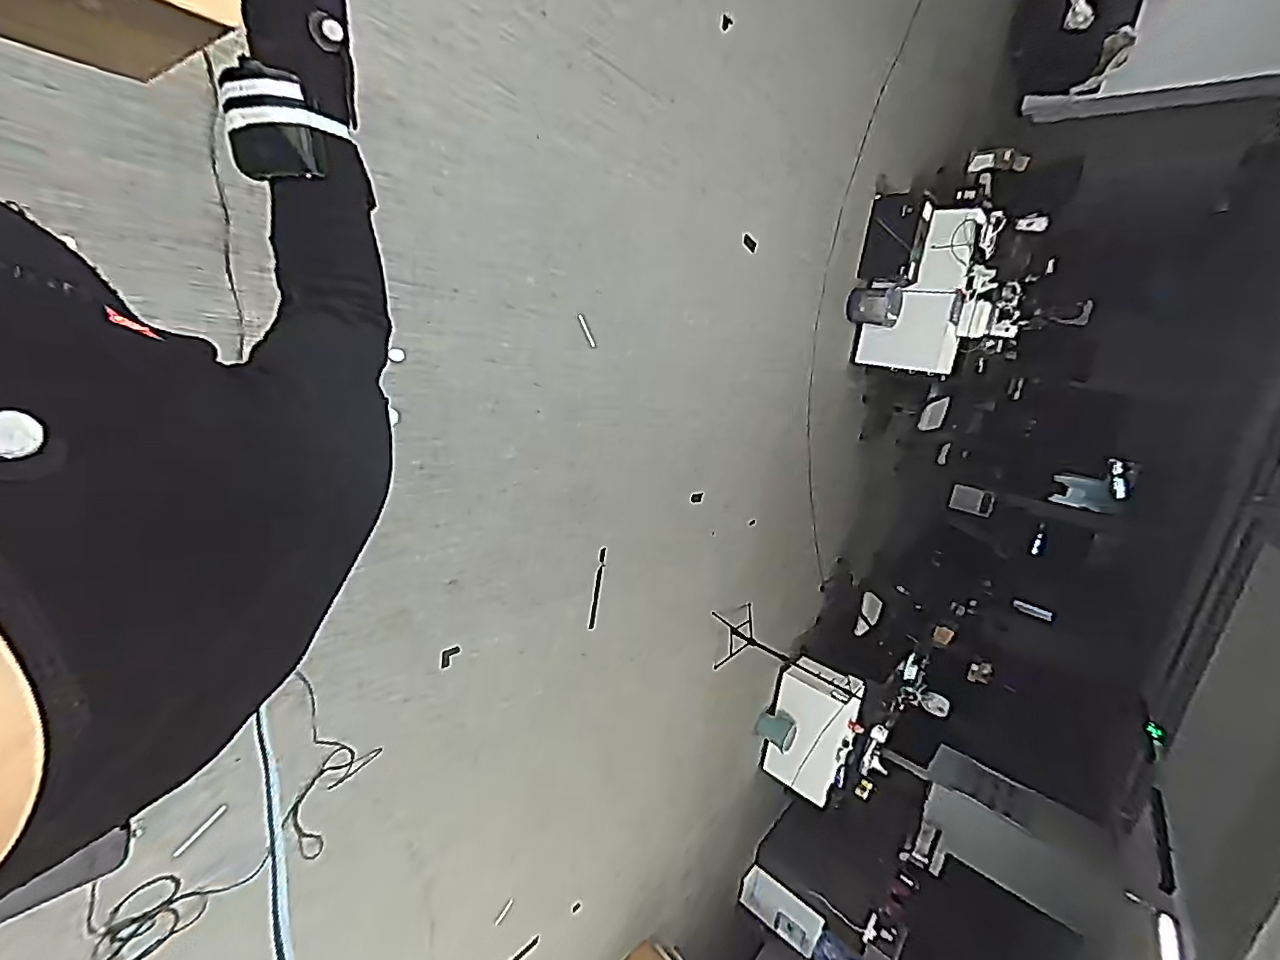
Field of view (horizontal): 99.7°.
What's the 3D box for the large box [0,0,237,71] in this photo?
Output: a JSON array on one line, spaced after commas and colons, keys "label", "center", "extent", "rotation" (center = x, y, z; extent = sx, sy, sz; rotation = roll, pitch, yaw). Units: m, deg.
[{"label": "large box", "center": [-0.490, -0.474, 0.258], "extent": [0.408, 0.320, 0.320], "rotation": [-11, 117, -49]}]
